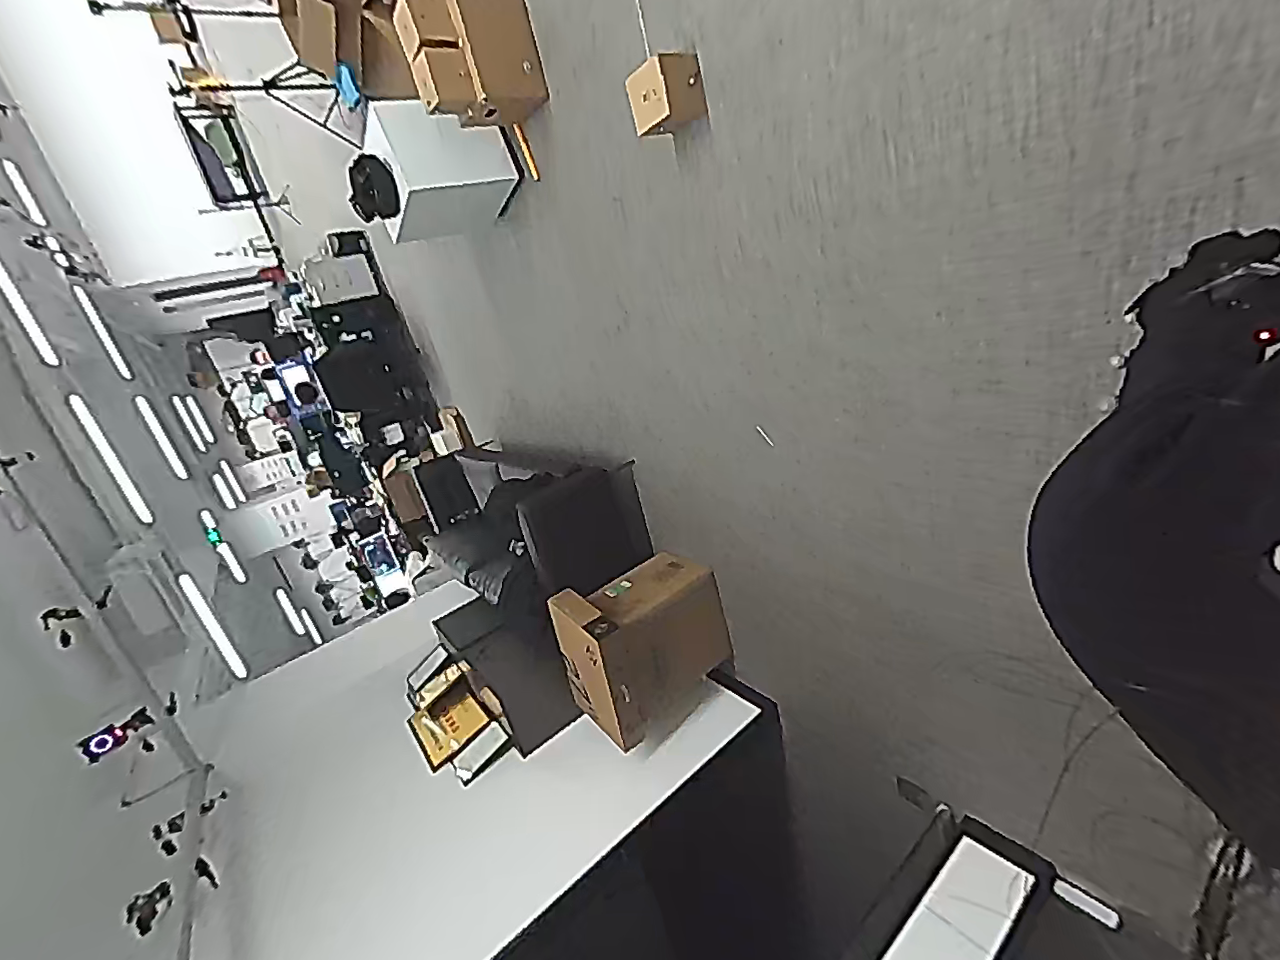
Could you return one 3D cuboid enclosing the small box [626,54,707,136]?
[{"bbox_3d":[0.086,-1.235,1.741,0.179,0.176,0.168,10,122,54],"label":"small box"}]
